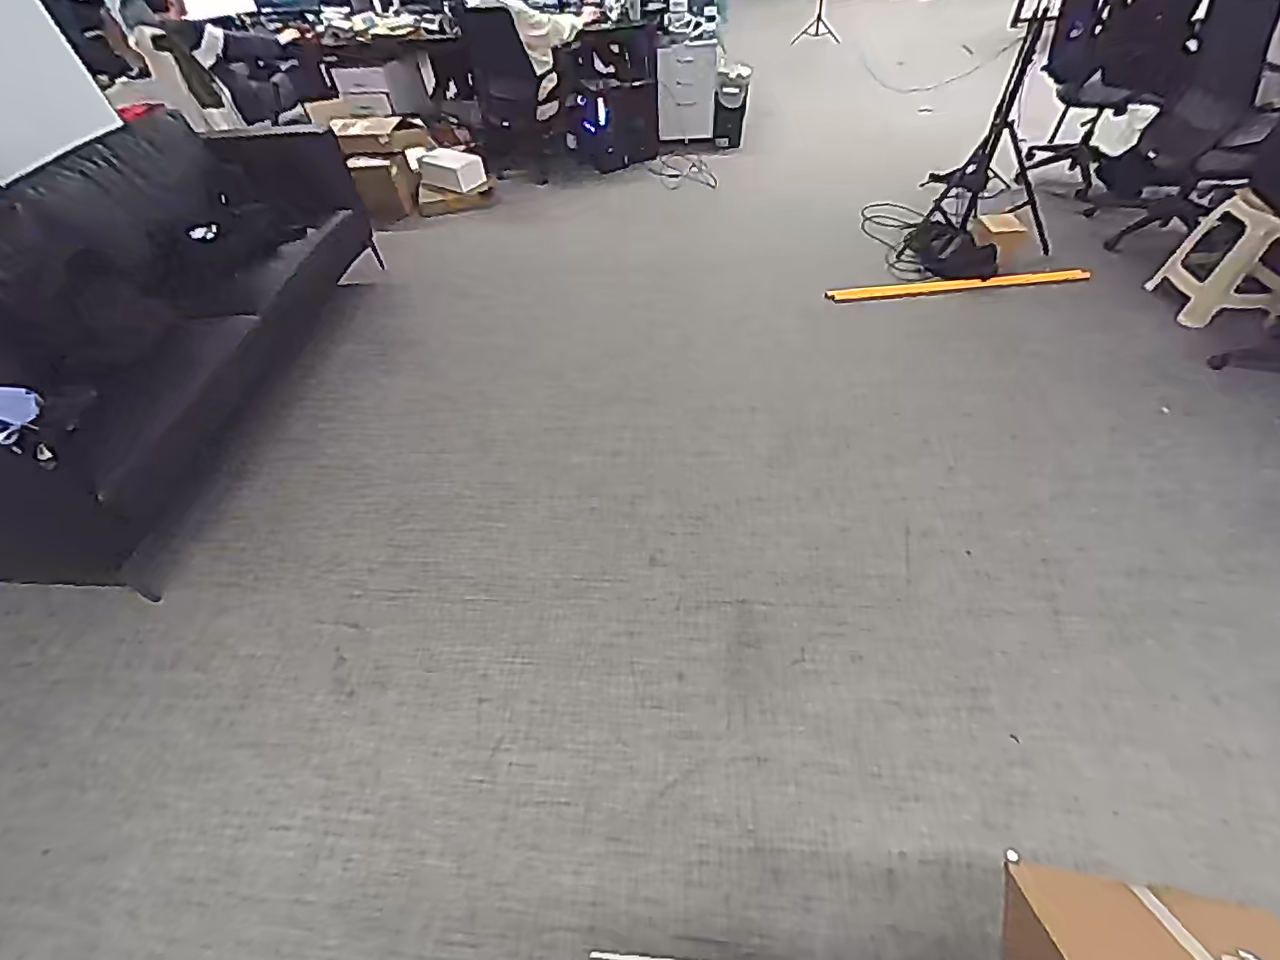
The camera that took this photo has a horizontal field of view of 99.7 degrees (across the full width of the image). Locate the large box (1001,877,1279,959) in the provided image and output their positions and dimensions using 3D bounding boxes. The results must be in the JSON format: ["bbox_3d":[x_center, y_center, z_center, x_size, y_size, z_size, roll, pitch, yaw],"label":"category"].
[{"bbox_3d":[0.622,0.725,0.556,0.320,0.408,0.320,4,88,14],"label":"large box"}]
